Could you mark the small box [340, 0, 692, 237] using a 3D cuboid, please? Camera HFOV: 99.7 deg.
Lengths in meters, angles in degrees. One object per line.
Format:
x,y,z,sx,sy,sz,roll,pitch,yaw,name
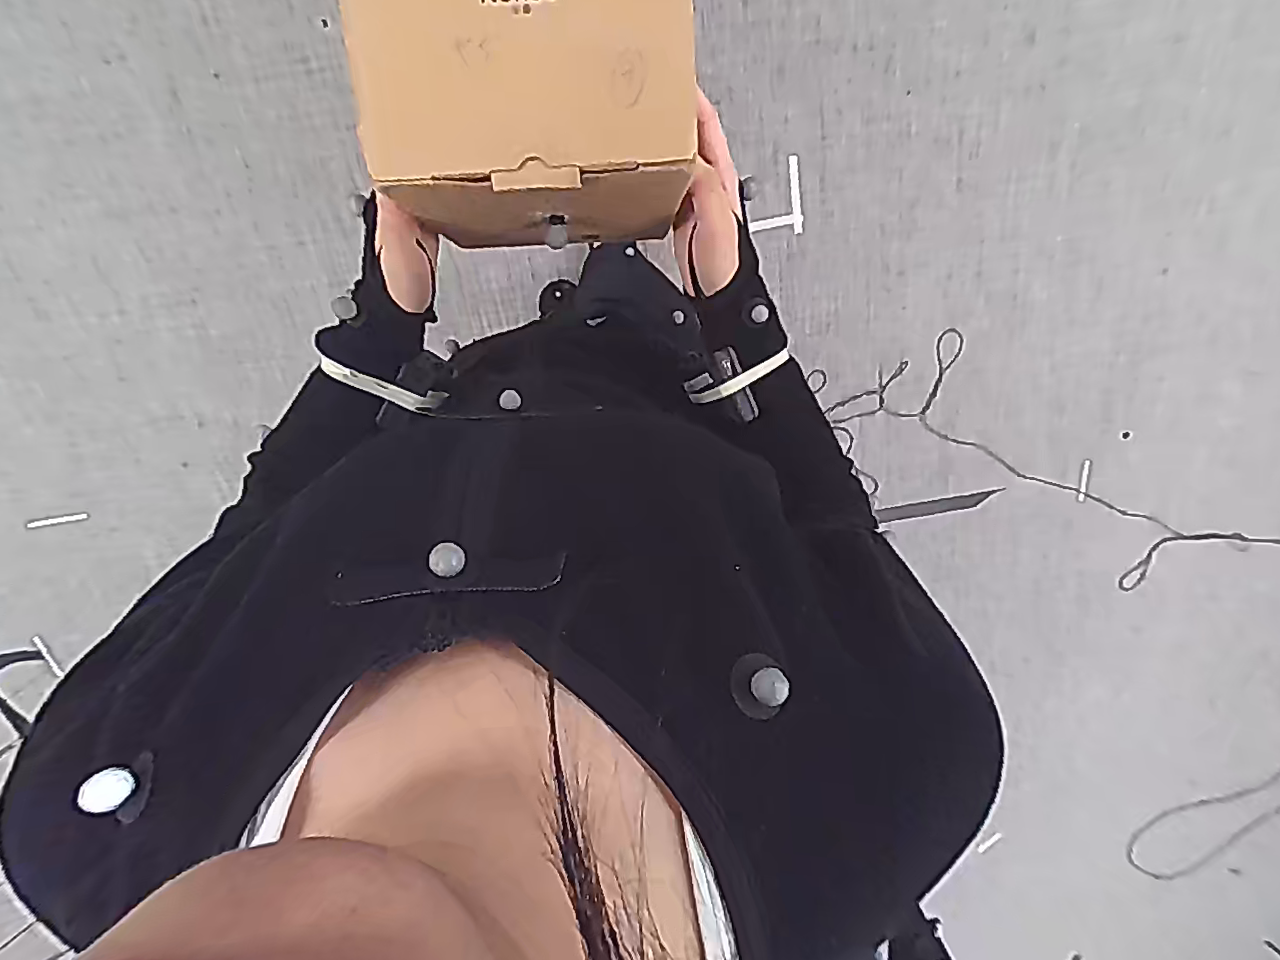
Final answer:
-0.061,-0.253,0.328,0.168,0.176,0.179,-4,104,-2,small box
